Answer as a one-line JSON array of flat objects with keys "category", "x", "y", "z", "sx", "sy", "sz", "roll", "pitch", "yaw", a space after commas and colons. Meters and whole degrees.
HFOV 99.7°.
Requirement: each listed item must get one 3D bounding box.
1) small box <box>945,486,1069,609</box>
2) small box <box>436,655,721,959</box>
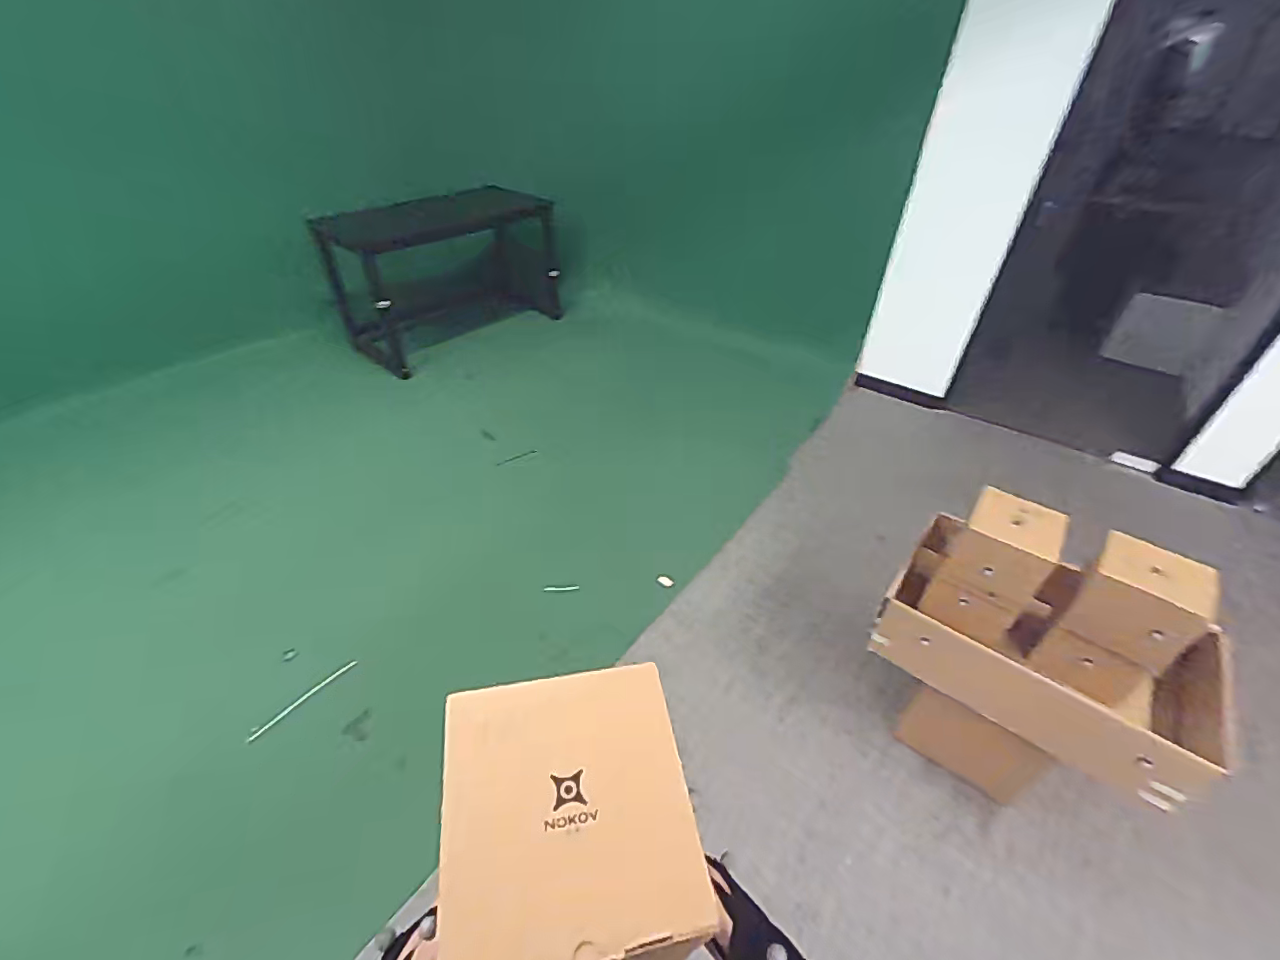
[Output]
[{"category": "small box", "x": 0.798, "y": 0.150, "z": 1.189, "sx": 0.168, "sy": 0.176, "sz": 0.179, "roll": 27, "pitch": 46, "yaw": 28}, {"category": "small box", "x": -0.055, "y": 0.265, "z": 0.418, "sx": 0.168, "sy": 0.176, "sz": 0.179, "roll": -4, "pitch": 44, "yaw": -12}]
